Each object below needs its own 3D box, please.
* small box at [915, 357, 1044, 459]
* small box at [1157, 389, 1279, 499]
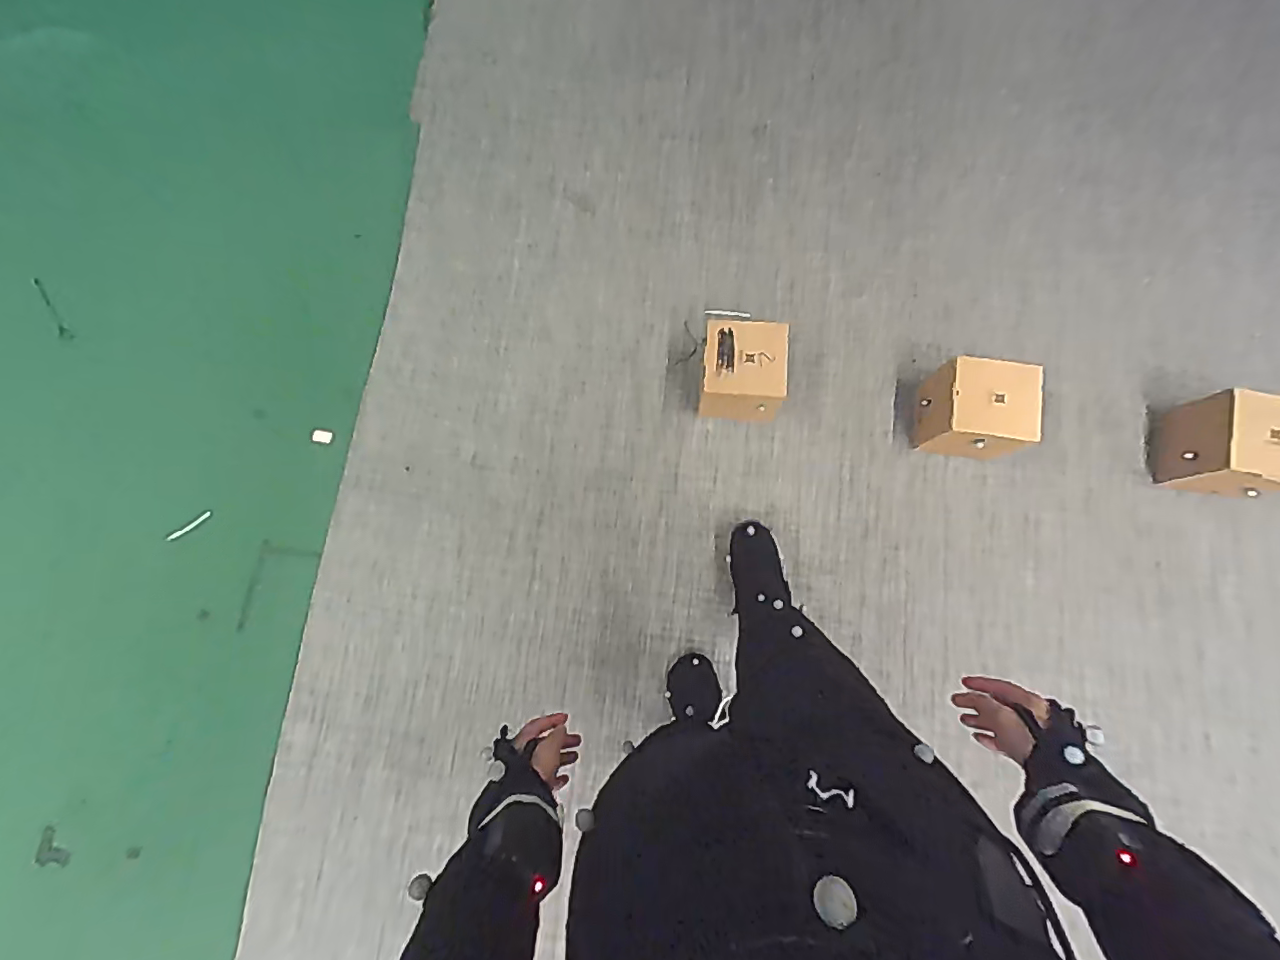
[{"bbox_3d":[0.729,-0.149,1.174,0.179,0.176,0.168,9,80,5],"label":"small box"},{"bbox_3d":[1.244,-0.066,1.134,0.168,0.176,0.179,13,79,4],"label":"small box"}]
